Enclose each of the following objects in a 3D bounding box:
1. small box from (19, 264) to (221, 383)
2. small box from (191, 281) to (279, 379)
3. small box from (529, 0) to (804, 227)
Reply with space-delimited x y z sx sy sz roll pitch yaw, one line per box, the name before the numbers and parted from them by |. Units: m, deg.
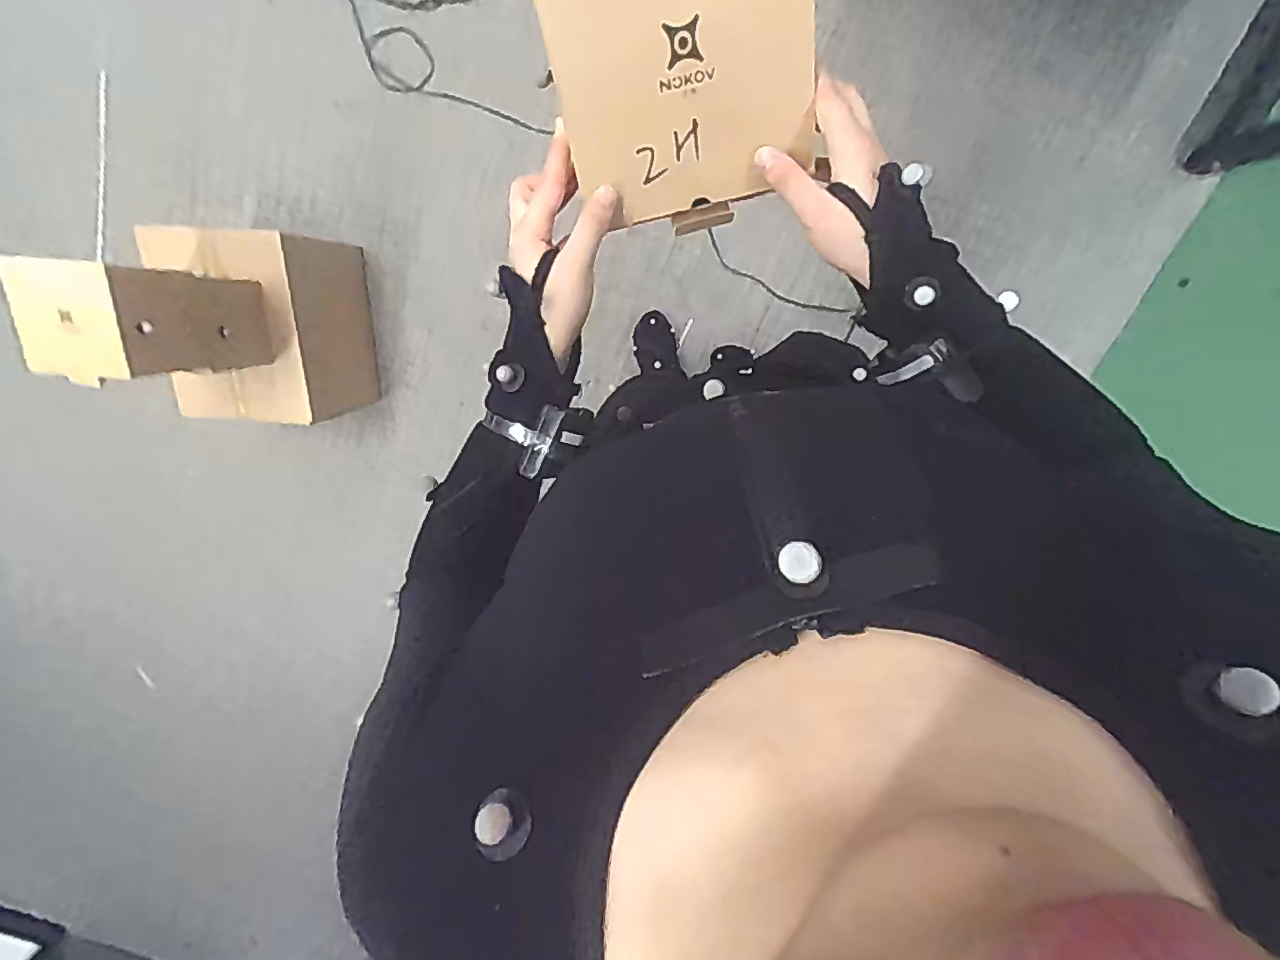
small box | -0.874 -0.269 0.930 0.168 0.176 0.179 3 109 2
small box | -0.866 -0.306 1.088 0.168 0.176 0.179 3 108 2
small box | 0.016 -0.313 0.406 0.168 0.176 0.179 -11 125 5
